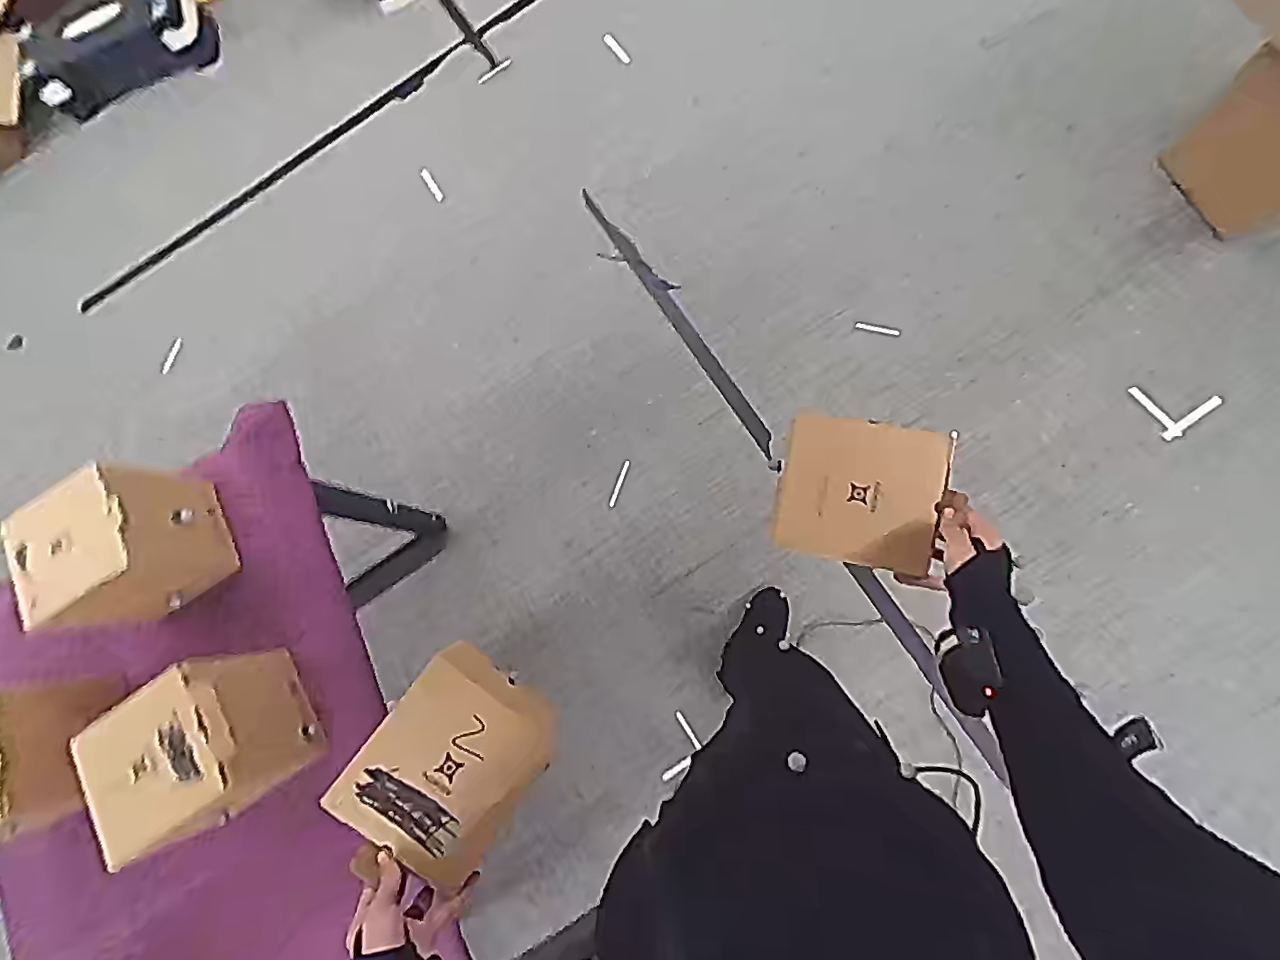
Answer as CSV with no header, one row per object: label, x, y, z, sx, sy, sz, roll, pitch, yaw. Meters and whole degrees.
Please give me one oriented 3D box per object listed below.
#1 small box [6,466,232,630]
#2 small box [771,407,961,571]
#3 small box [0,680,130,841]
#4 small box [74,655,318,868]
small box,-0.757,0.104,0.808,0.179,0.176,0.168,-31,75,2
small box,0.276,0.007,0.703,0.179,0.176,0.168,11,93,10
small box,-0.874,0.403,0.763,0.179,0.176,0.168,-27,75,0
small box,-0.573,0.355,0.725,0.179,0.176,0.168,-35,75,1
